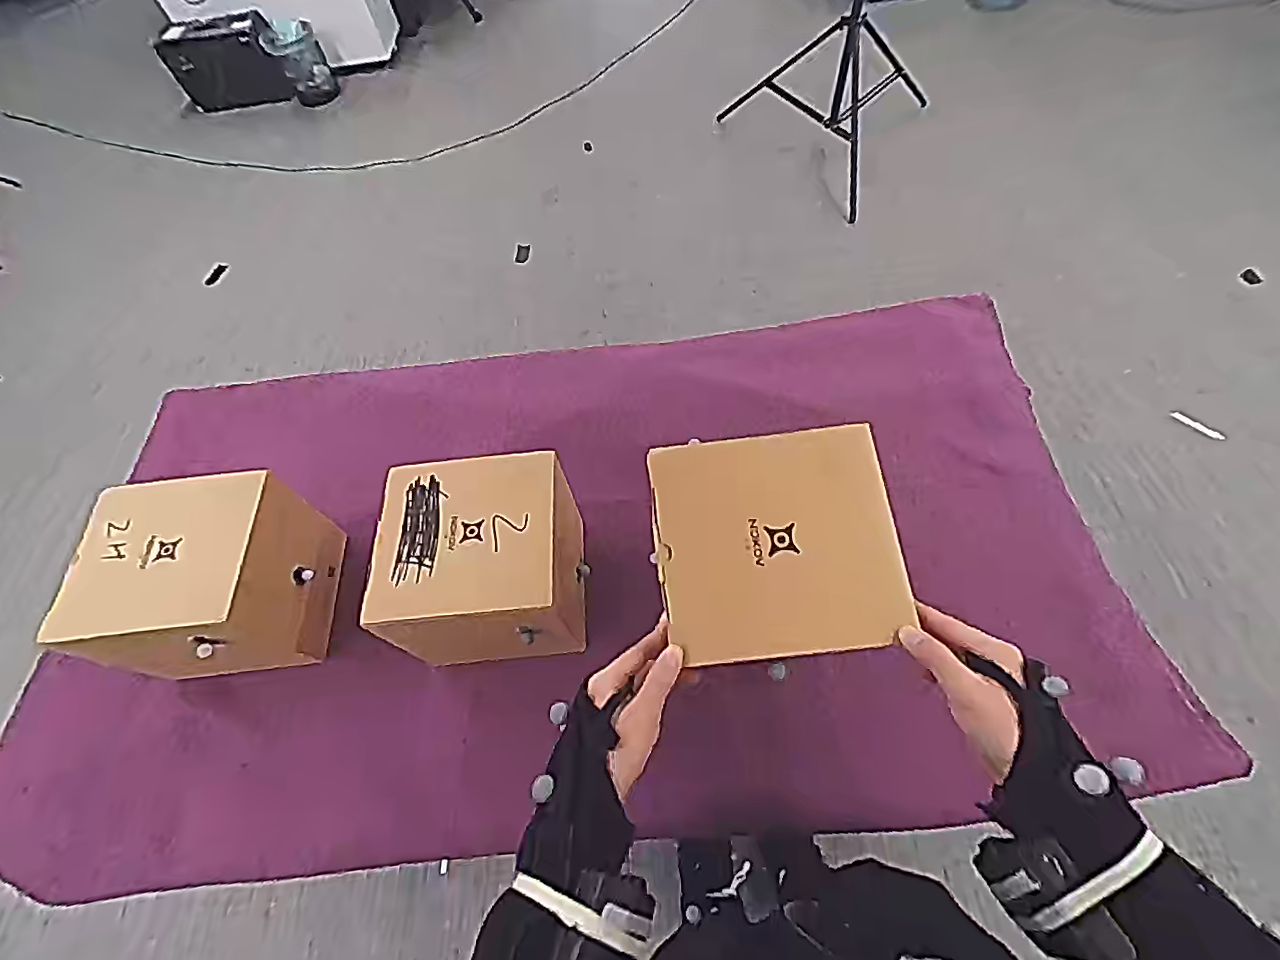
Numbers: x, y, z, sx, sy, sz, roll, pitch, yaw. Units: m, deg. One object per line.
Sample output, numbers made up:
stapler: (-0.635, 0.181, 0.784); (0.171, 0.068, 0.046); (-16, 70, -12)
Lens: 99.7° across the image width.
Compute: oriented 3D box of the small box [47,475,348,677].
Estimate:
small box: (-0.460, 0.113, 0.603); (0.179, 0.176, 0.168); (-7, 59, 0)

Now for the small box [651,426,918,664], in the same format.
small box: (0.108, 0.067, 0.481); (0.179, 0.176, 0.168); (-8, 71, 3)
